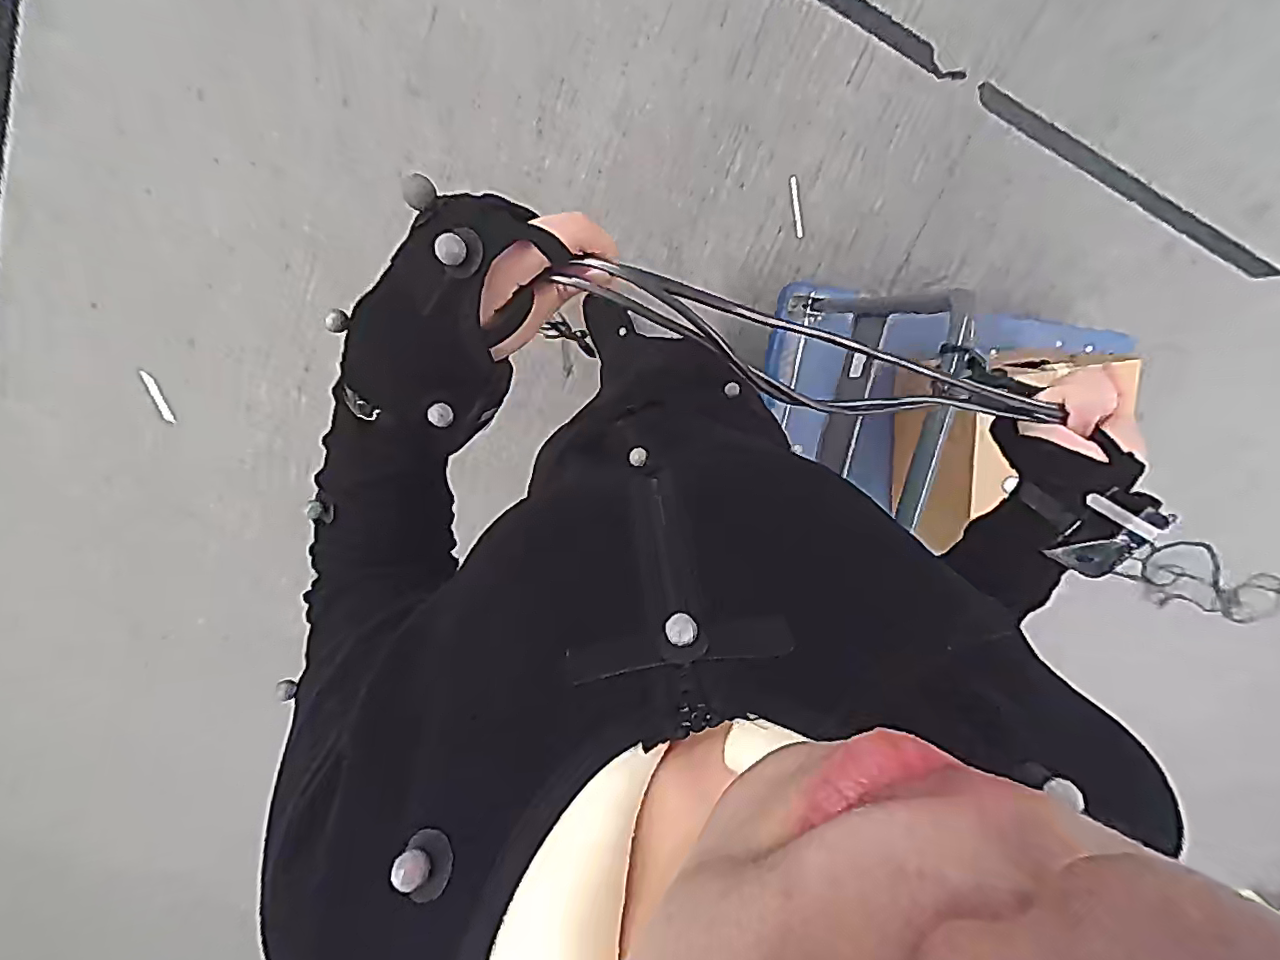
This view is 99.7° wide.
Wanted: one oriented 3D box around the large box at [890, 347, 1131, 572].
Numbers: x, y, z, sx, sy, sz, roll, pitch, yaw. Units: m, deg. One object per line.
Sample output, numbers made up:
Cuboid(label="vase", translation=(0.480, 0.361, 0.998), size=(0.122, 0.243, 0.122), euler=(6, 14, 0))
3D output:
Cuboid(label="large box", translation=(0.780, -0.064, 1.201), size=(0.320, 0.320, 0.408), euler=(-8, 108, -1))
